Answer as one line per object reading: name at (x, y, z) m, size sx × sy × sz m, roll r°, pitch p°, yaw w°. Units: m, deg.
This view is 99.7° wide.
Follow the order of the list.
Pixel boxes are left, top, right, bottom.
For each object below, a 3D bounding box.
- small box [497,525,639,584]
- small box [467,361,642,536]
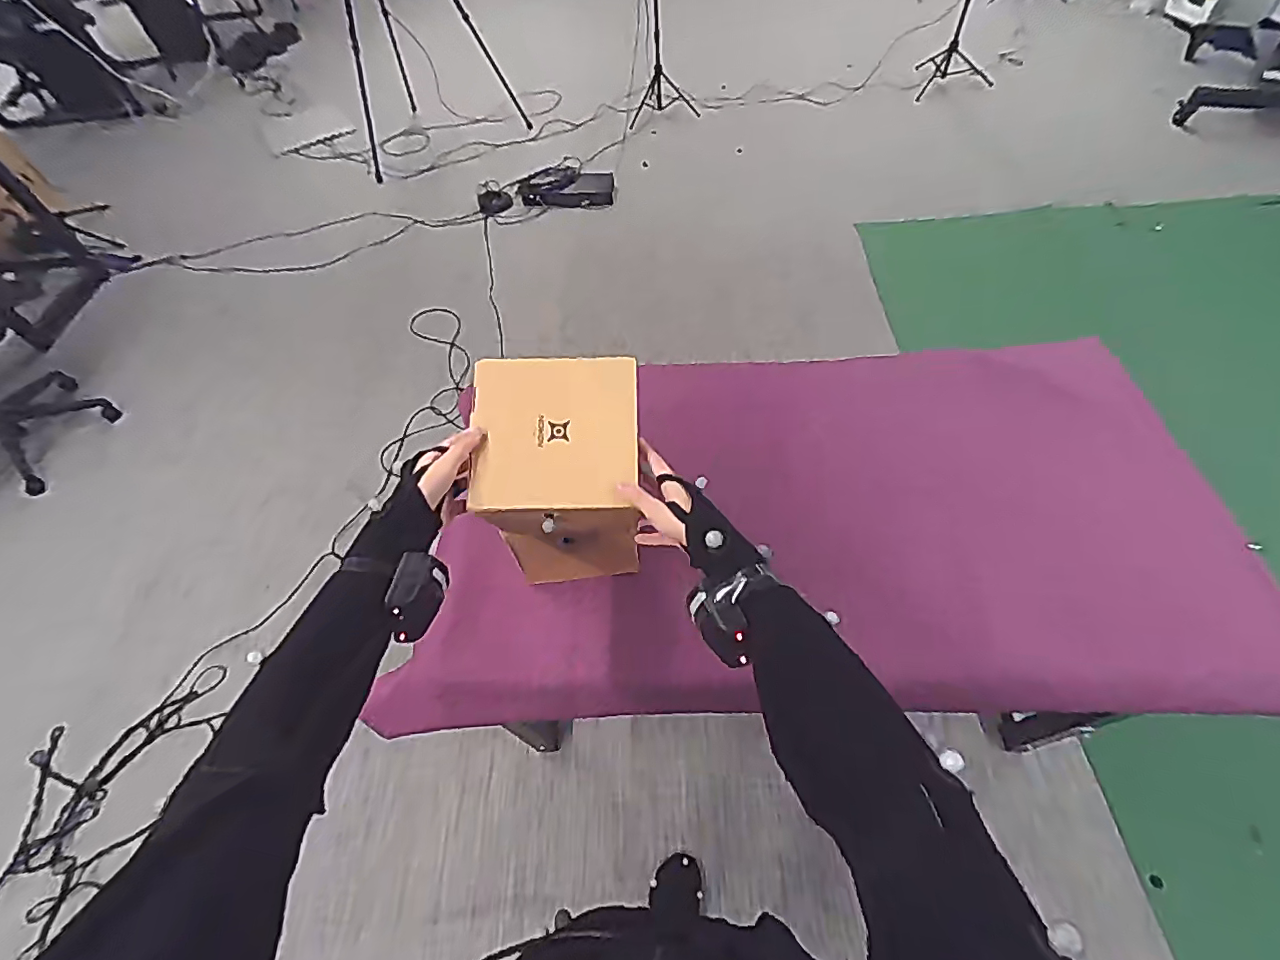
small box at (-0.099, 0.044, 0.807) m, size 0.179 × 0.176 × 0.168 m, roll -6°, pitch 55°, yaw 0°
small box at (-0.086, -0.028, 0.632) m, size 0.179 × 0.176 × 0.168 m, roll -1°, pitch 77°, yaw 1°
